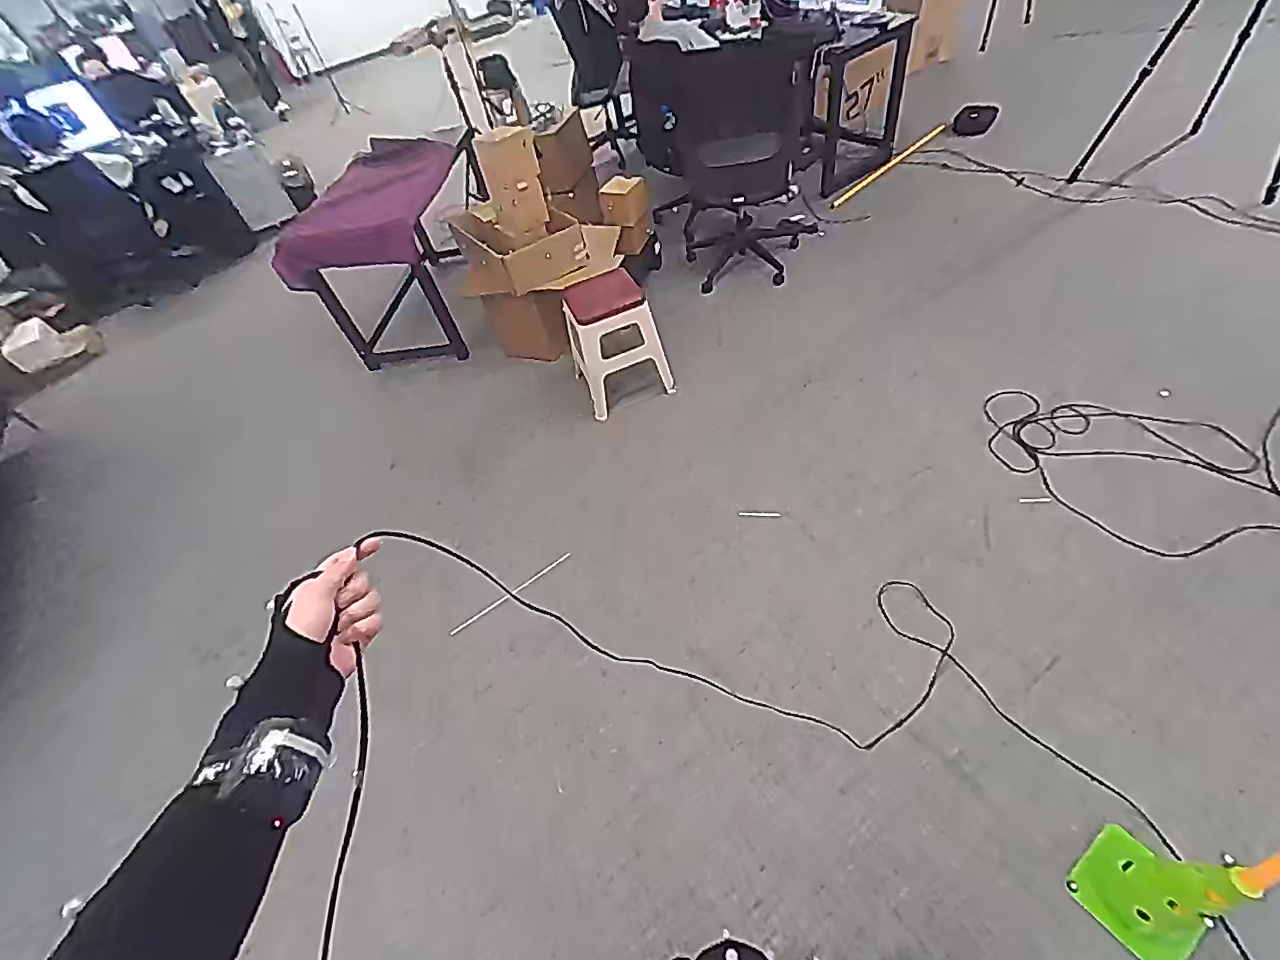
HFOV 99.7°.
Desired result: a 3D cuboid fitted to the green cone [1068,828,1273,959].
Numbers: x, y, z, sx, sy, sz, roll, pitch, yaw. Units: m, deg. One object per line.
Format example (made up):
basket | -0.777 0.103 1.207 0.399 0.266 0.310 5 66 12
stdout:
green cone | 1.011 0.763 0.991 0.202 0.368 0.200 -35 52 -18
